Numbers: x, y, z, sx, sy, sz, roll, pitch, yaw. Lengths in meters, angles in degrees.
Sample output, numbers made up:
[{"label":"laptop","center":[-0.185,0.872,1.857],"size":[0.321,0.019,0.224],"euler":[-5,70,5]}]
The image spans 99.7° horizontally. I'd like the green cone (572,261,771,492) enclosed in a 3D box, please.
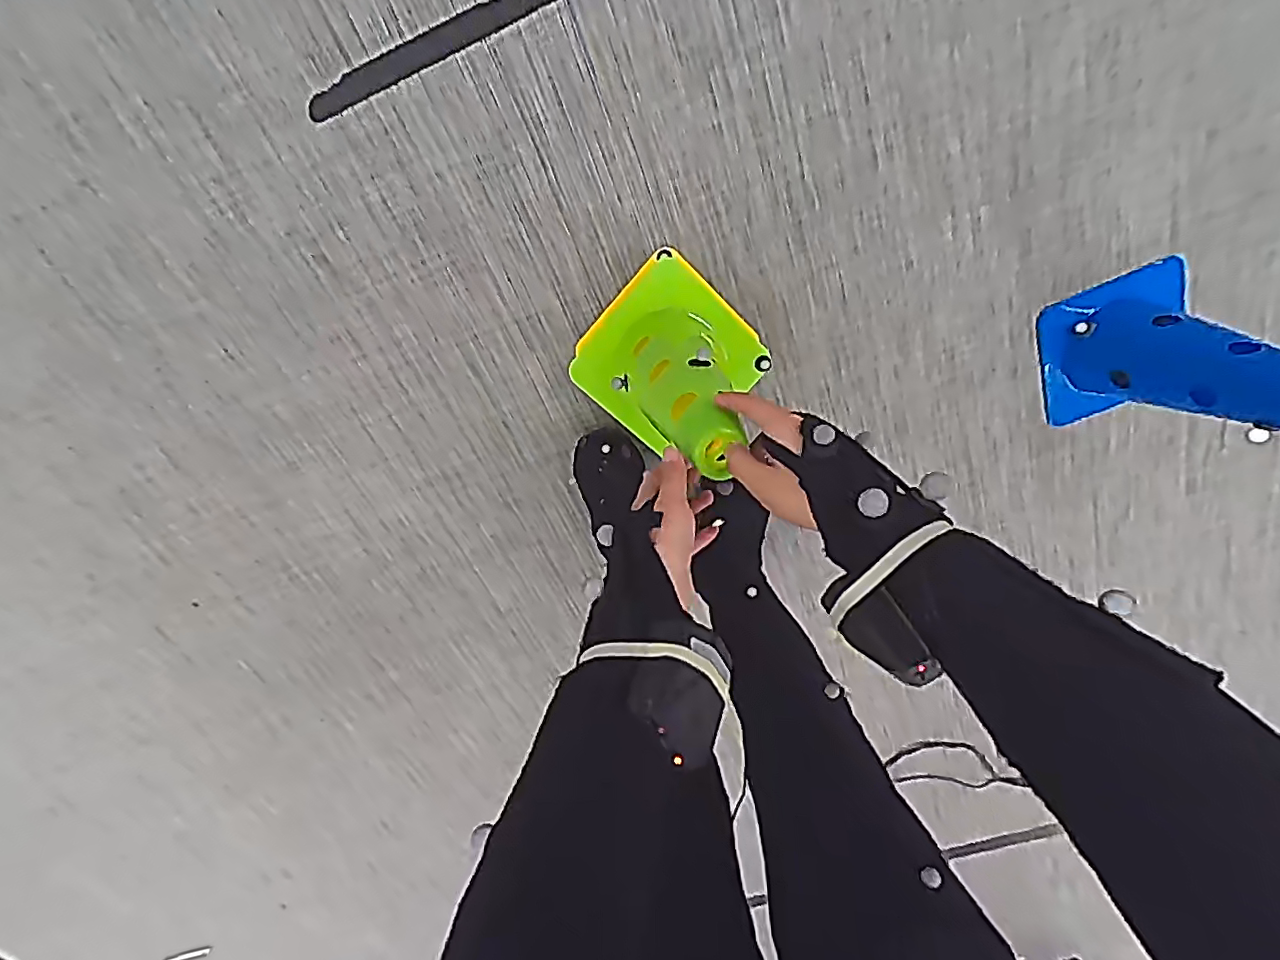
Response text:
[{"label":"green cone","center":[0.047,-0.081,0.540],"size":[0.200,0.368,0.202],"euler":[39,106,-16]}]
